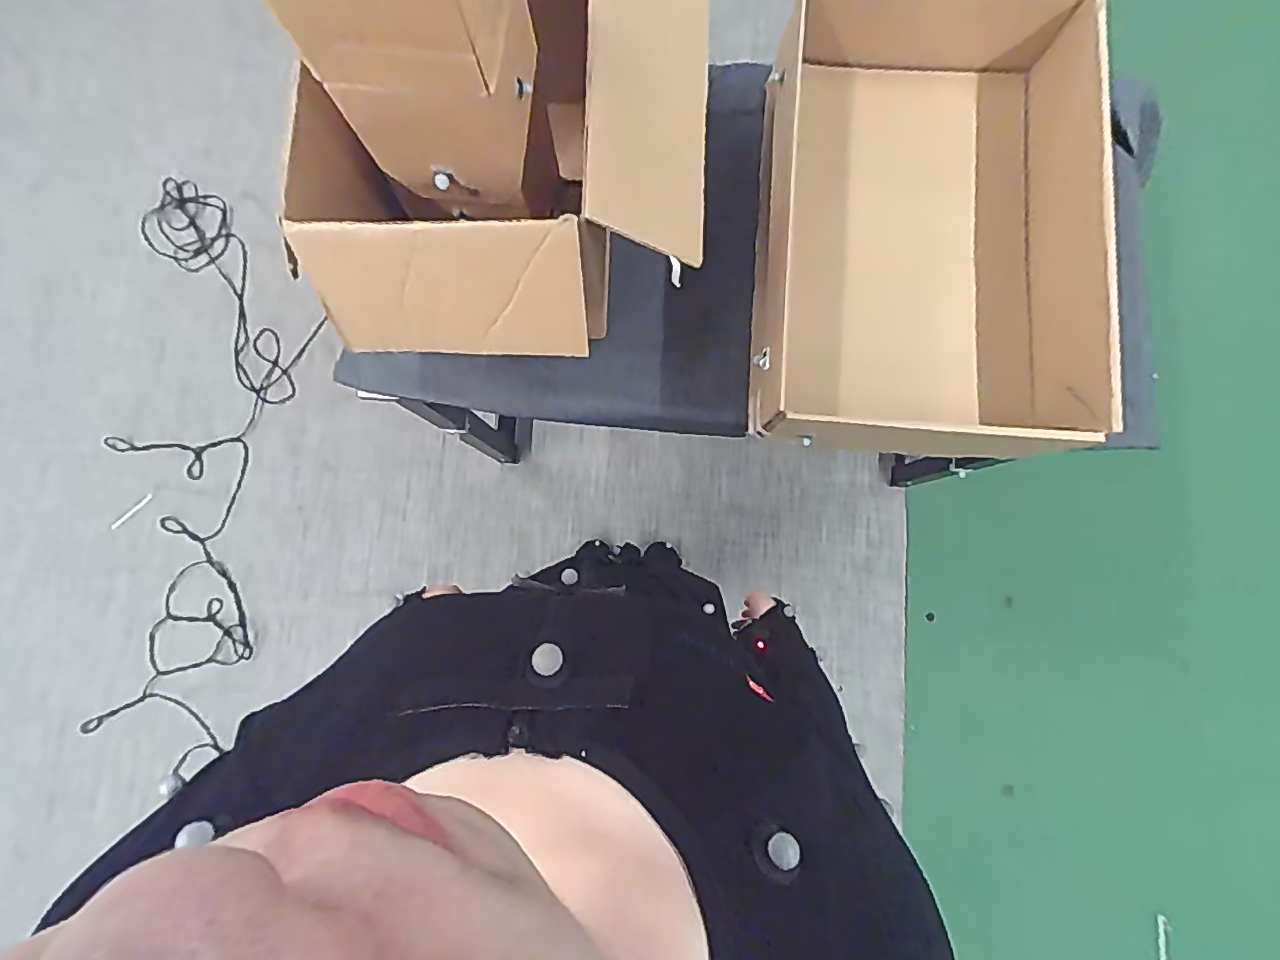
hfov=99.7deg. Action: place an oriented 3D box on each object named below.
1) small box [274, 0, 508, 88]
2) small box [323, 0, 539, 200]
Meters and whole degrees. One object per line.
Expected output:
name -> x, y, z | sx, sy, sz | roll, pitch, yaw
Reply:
small box -> -0.217, -0.467, 0.445 | 0.179, 0.176, 0.168 | 7, 84, 0
small box -> -0.215, -0.452, 0.606 | 0.168, 0.176, 0.179 | 6, 85, 1
